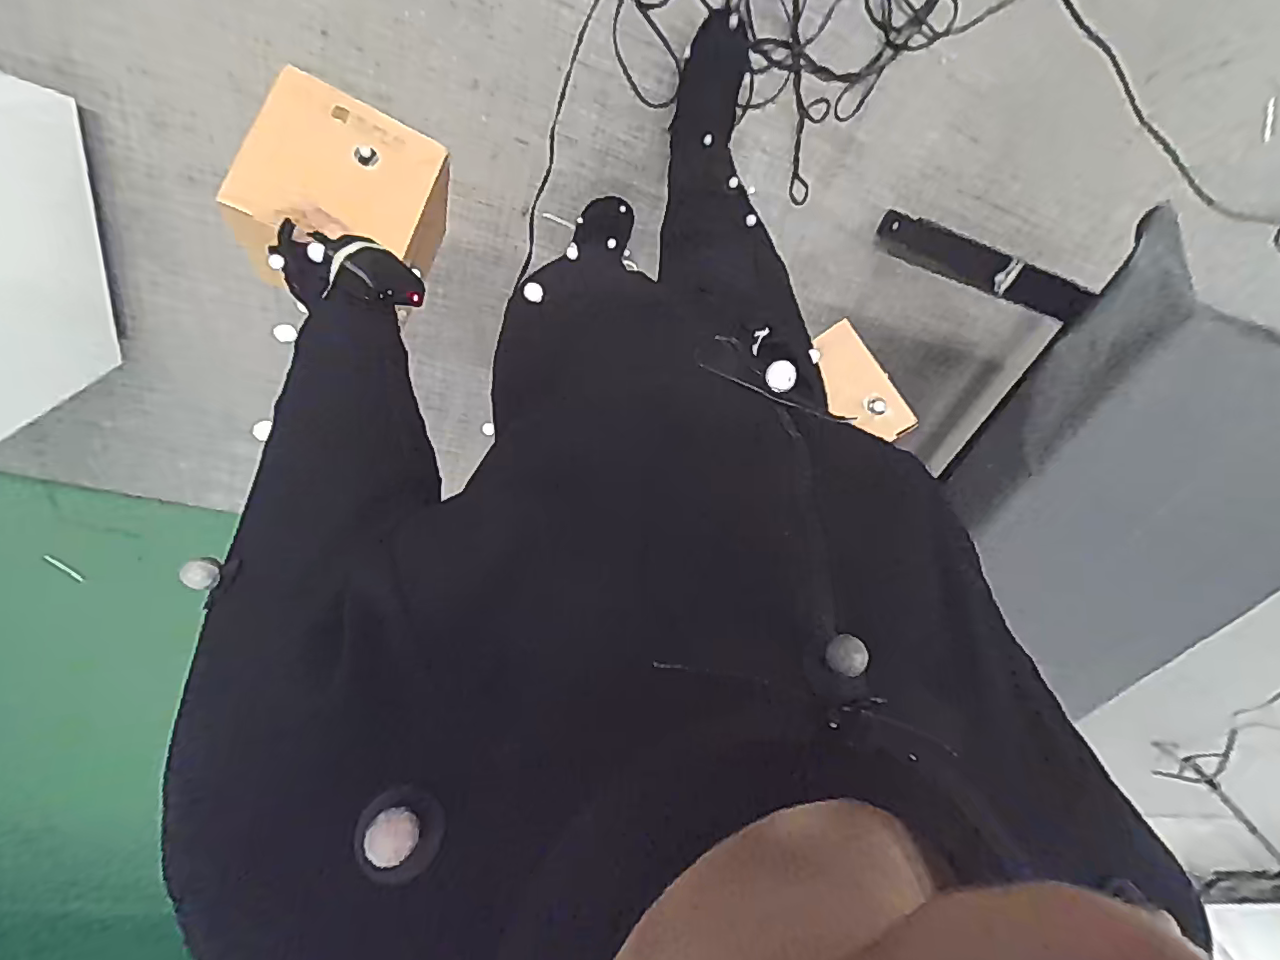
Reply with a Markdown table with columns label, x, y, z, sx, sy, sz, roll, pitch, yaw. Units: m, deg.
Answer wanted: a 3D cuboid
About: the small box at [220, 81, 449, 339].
| label | x | y | z | sx | sy | sz | roll | pitch | yaw |
| --- | --- | --- | --- | --- | --- | --- | --- | --- | --- |
| small box | -0.333 | -0.297 | 0.629 | 0.168 | 0.179 | 0.176 | 20 | 78 | -17 |
